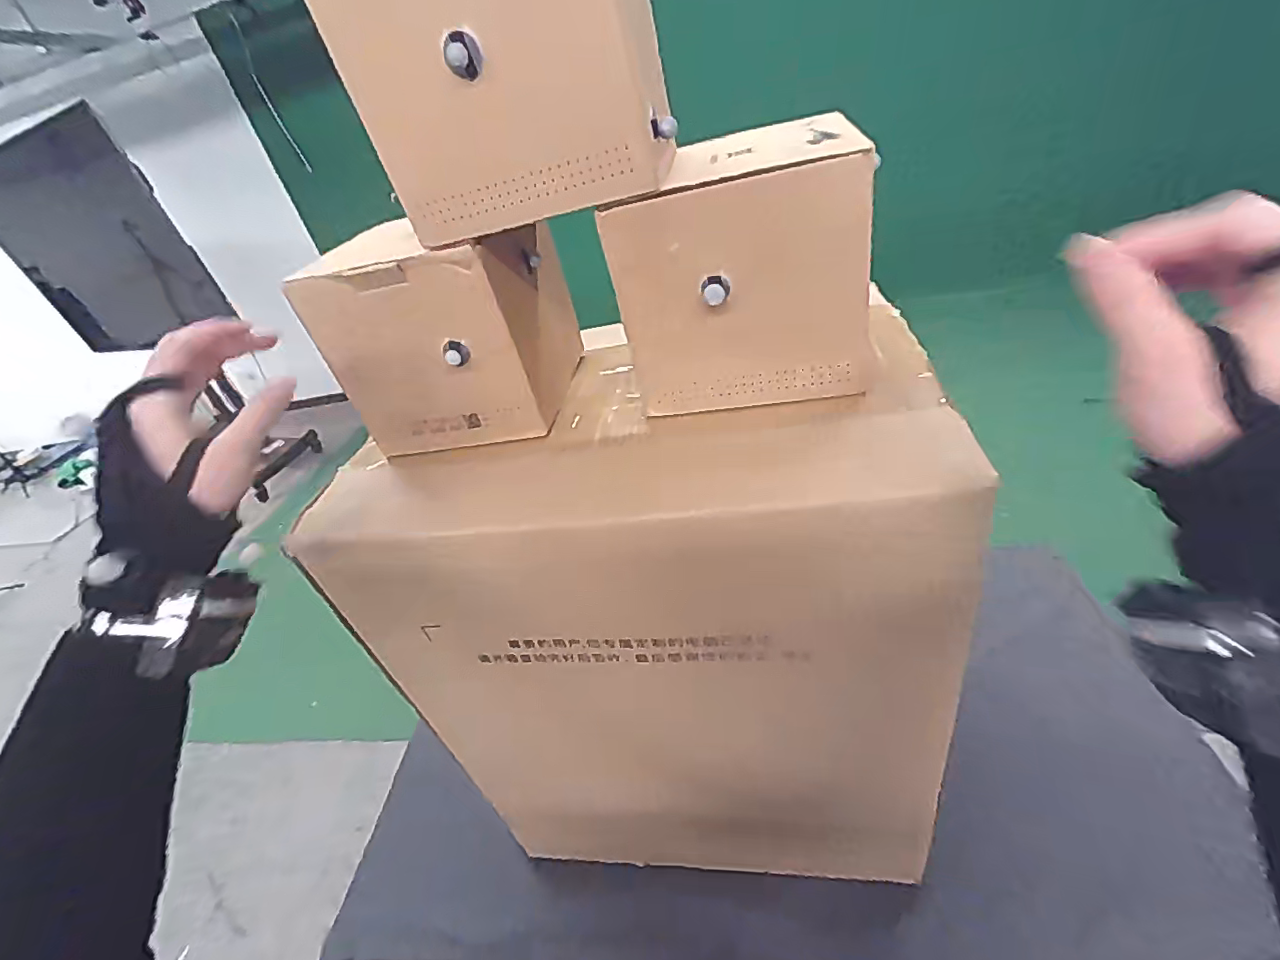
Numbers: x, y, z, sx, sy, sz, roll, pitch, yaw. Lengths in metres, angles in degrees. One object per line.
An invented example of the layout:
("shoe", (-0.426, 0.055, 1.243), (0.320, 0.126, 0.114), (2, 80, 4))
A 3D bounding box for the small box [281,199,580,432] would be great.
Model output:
("small box", (-0.162, -0.154, 0.493), (0.168, 0.176, 0.179), (-5, 36, 11))

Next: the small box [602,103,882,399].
("small box", (0.087, -0.179, 0.439), (0.179, 0.176, 0.168), (-6, 38, 14))

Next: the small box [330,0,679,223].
("small box", (-0.073, -0.295, 0.369), (0.179, 0.176, 0.168), (-7, 36, 13))
